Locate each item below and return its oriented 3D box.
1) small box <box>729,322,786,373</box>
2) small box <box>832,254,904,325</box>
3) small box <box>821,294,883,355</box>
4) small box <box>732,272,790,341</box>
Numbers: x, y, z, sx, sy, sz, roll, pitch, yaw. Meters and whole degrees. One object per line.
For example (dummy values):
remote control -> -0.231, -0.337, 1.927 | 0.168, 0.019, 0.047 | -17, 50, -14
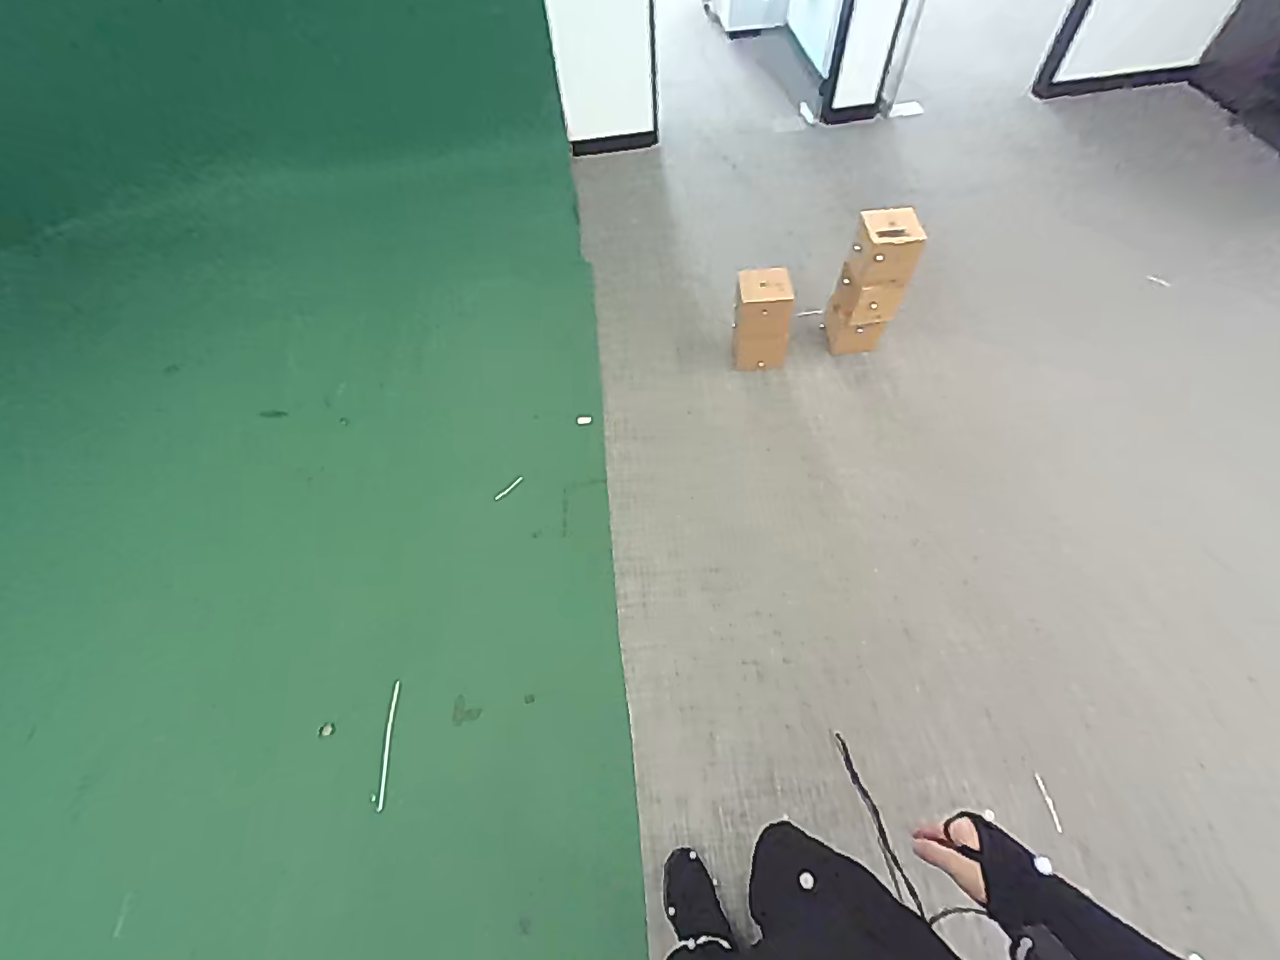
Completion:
small box -> 0.440, -0.523, 2.053 | 0.179, 0.176, 0.168 | -4, 58, 1
small box -> 0.802, -0.670, 1.923 | 0.168, 0.176, 0.179 | -9, 57, -1
small box -> 0.806, -0.597, 2.068 | 0.179, 0.176, 0.168 | -5, 58, 0
small box -> 0.421, -0.611, 1.914 | 0.179, 0.176, 0.168 | -4, 58, 2
